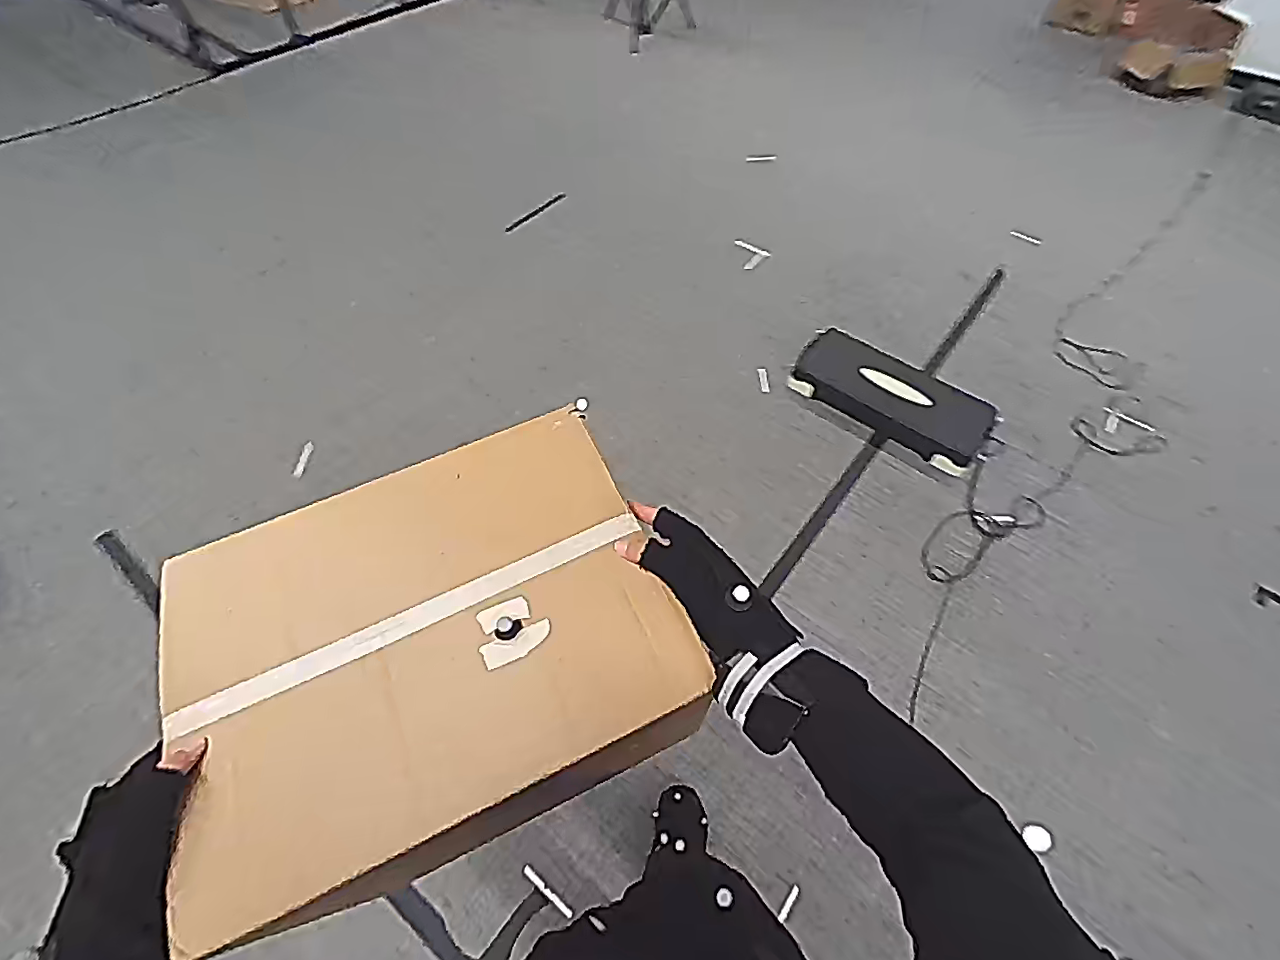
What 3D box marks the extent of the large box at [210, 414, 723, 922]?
[{"bbox_3d":[-0.165,0.195,0.606,0.408,0.320,0.320,-22,61,-11],"label":"large box"}]
